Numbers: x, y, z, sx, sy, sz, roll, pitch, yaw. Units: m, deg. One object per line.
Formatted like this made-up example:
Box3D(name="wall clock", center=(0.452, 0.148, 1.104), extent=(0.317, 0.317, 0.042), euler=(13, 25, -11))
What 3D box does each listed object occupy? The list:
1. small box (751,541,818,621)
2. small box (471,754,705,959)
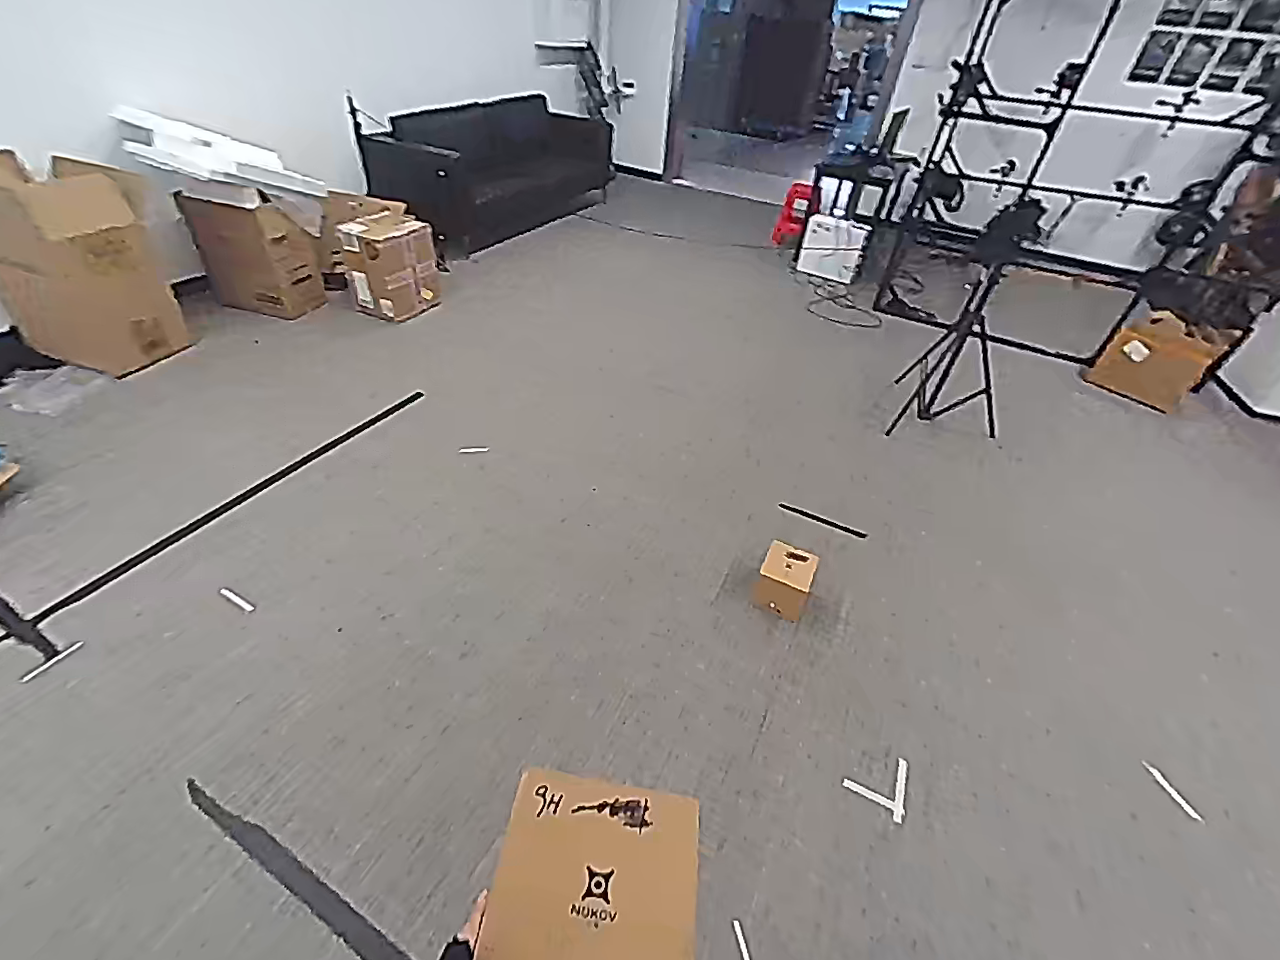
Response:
Box3D(name="small box", center=(0.497, 0.350, 1.871), extent=(0.168, 0.176, 0.179), euler=(21, 44, 17))
Box3D(name="small box", center=(-0.043, 0.379, 0.479), extent=(0.168, 0.176, 0.179), euler=(11, 41, 0))
